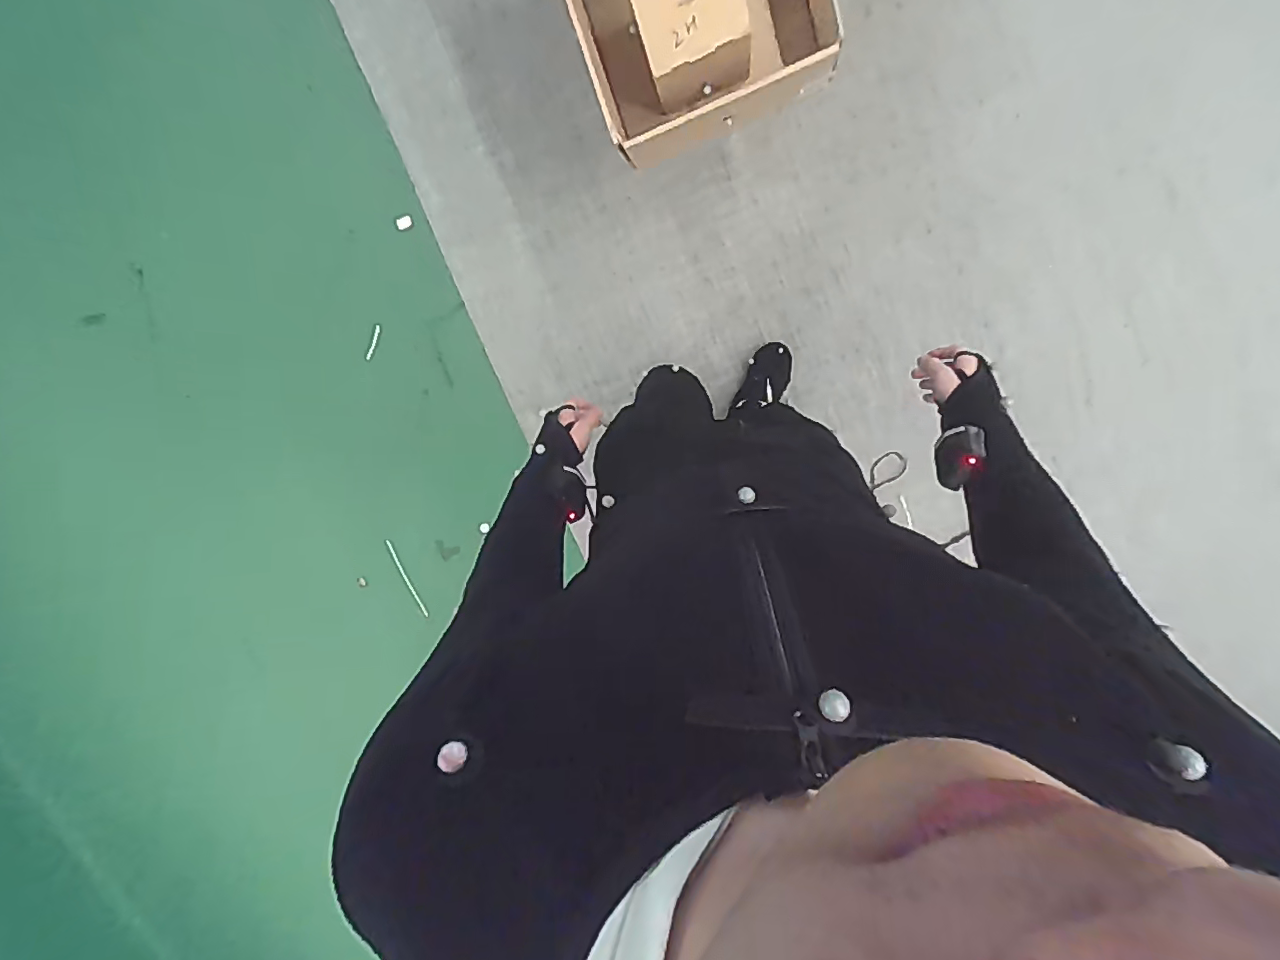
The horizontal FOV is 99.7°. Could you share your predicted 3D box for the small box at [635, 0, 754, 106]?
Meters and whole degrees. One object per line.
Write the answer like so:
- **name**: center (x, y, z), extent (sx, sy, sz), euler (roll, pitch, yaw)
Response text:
- **small box**: center (0.086, -0.777, 0.902), extent (0.168, 0.176, 0.179), euler (-16, 102, 15)
